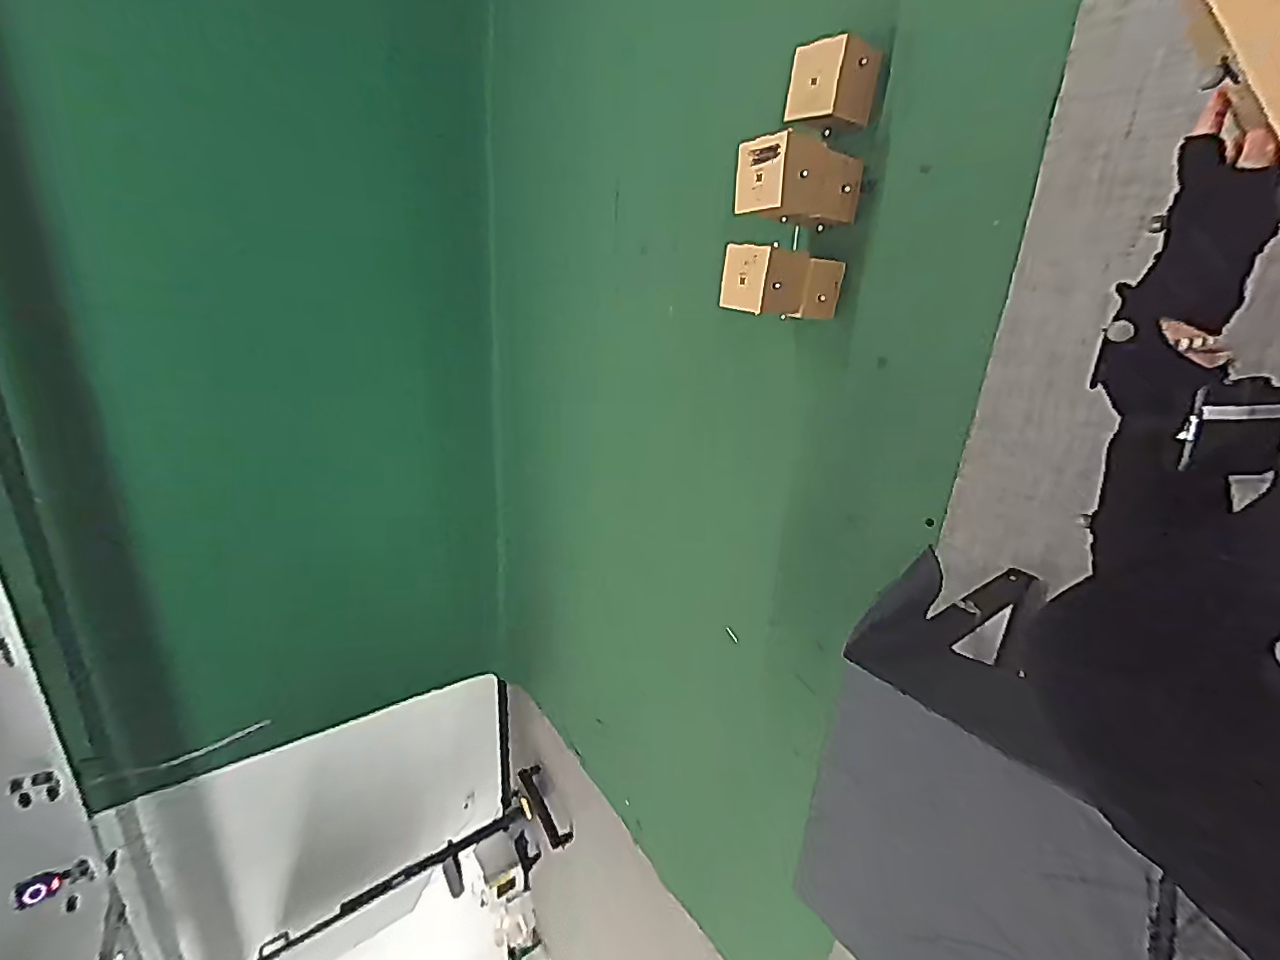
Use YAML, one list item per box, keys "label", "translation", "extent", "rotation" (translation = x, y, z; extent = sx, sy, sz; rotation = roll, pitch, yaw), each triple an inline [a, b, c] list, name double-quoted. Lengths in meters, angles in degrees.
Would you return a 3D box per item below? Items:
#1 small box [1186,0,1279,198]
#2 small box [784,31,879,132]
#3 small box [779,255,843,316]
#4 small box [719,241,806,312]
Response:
- label: "small box"
  translation: [0.434, -0.281, 0.291]
  extent: [0.168, 0.176, 0.179]
  rotation: [-26, 82, 48]
- label: "small box"
  translation: [0.530, -1.088, 1.491]
  extent: [0.168, 0.176, 0.179]
  rotation: [32, 123, 46]
- label: "small box"
  translation: [0.493, -0.601, 1.660]
  extent: [0.179, 0.176, 0.168]
  rotation: [33, 124, 46]
- label: "small box"
  translation: [0.355, -0.589, 1.568]
  extent: [0.168, 0.176, 0.179]
  rotation: [32, 123, 46]
